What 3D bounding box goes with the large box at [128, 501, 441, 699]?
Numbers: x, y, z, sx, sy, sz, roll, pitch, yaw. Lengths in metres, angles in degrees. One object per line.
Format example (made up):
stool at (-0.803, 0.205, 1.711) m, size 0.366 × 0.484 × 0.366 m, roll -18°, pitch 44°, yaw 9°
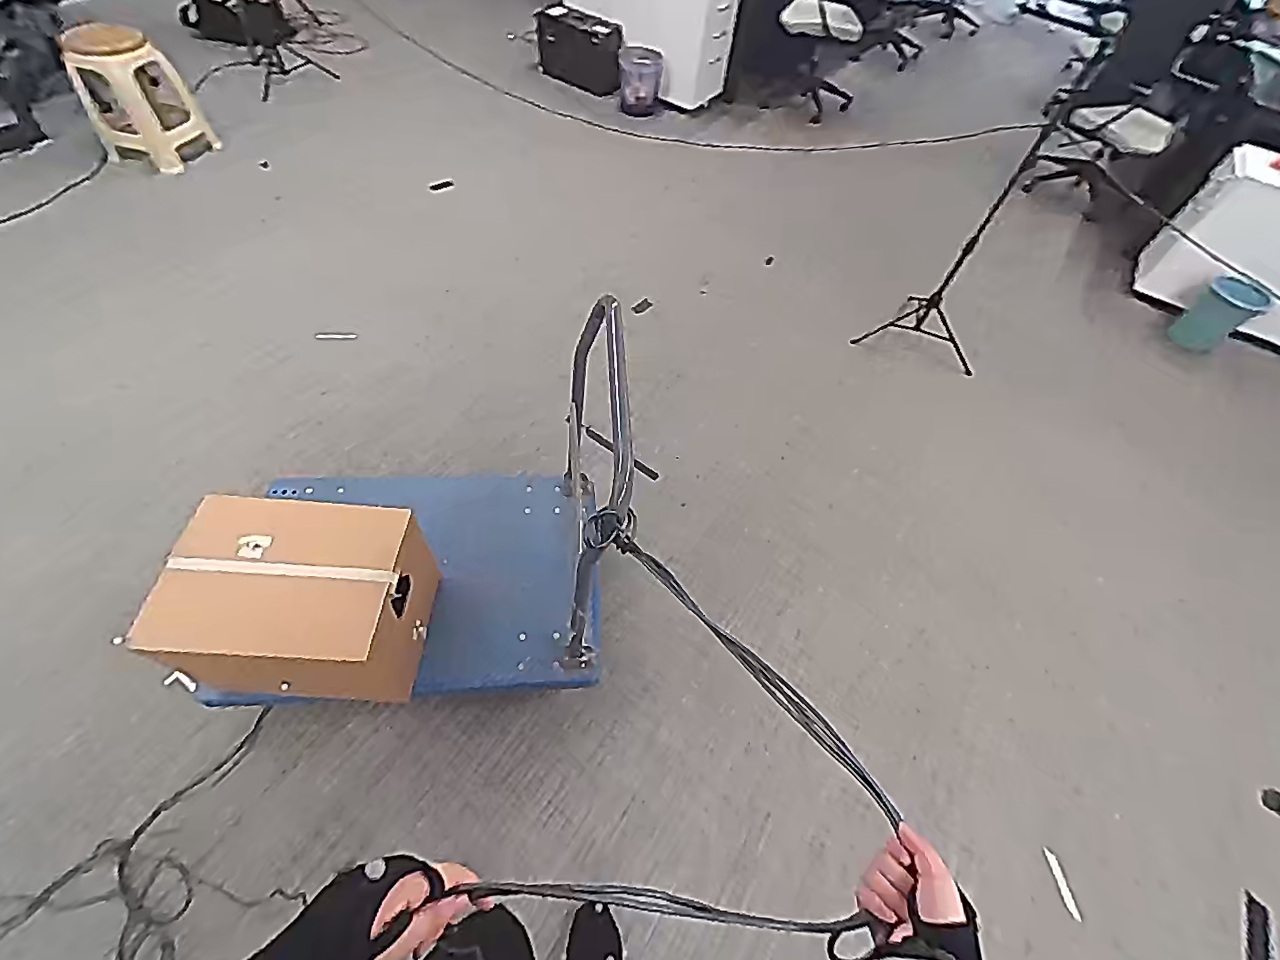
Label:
large box at (-0.674, 0.260, 1.126) m, size 0.408 × 0.320 × 0.320 m, roll 4°, pitch 55°, yaw -4°
